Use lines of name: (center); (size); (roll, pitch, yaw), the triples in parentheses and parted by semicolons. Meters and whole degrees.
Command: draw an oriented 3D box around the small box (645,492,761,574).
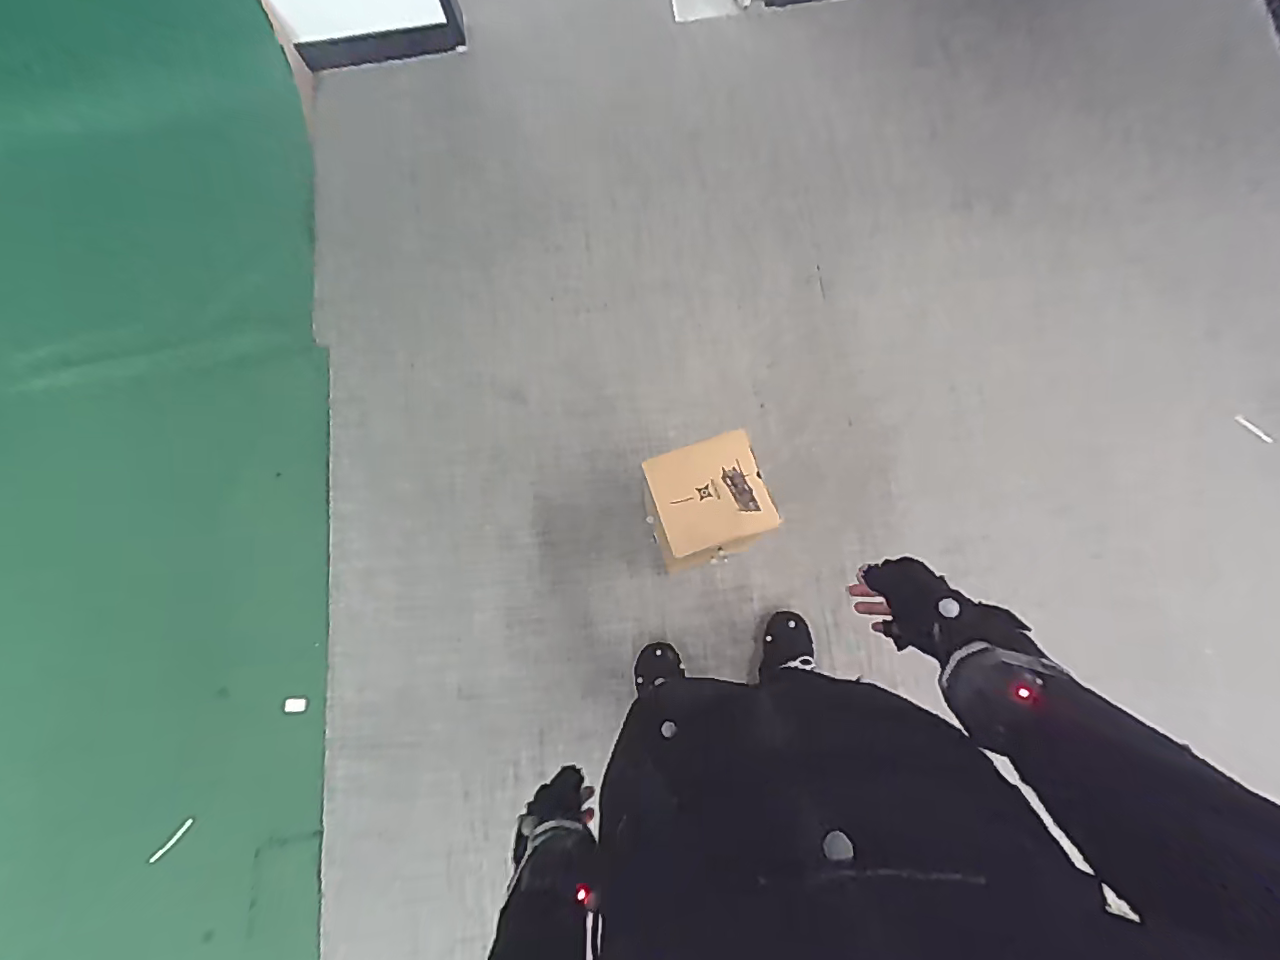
small box: (0.119, 0.081, 1.087); (0.179, 0.176, 0.168); (-22, 78, -1)

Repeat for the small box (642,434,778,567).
small box: (0.111, 0.043, 0.924); (0.179, 0.176, 0.168); (-19, 77, -1)

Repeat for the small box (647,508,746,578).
small box: (0.125, 0.119, 1.244); (0.179, 0.176, 0.168); (-20, 76, -1)
